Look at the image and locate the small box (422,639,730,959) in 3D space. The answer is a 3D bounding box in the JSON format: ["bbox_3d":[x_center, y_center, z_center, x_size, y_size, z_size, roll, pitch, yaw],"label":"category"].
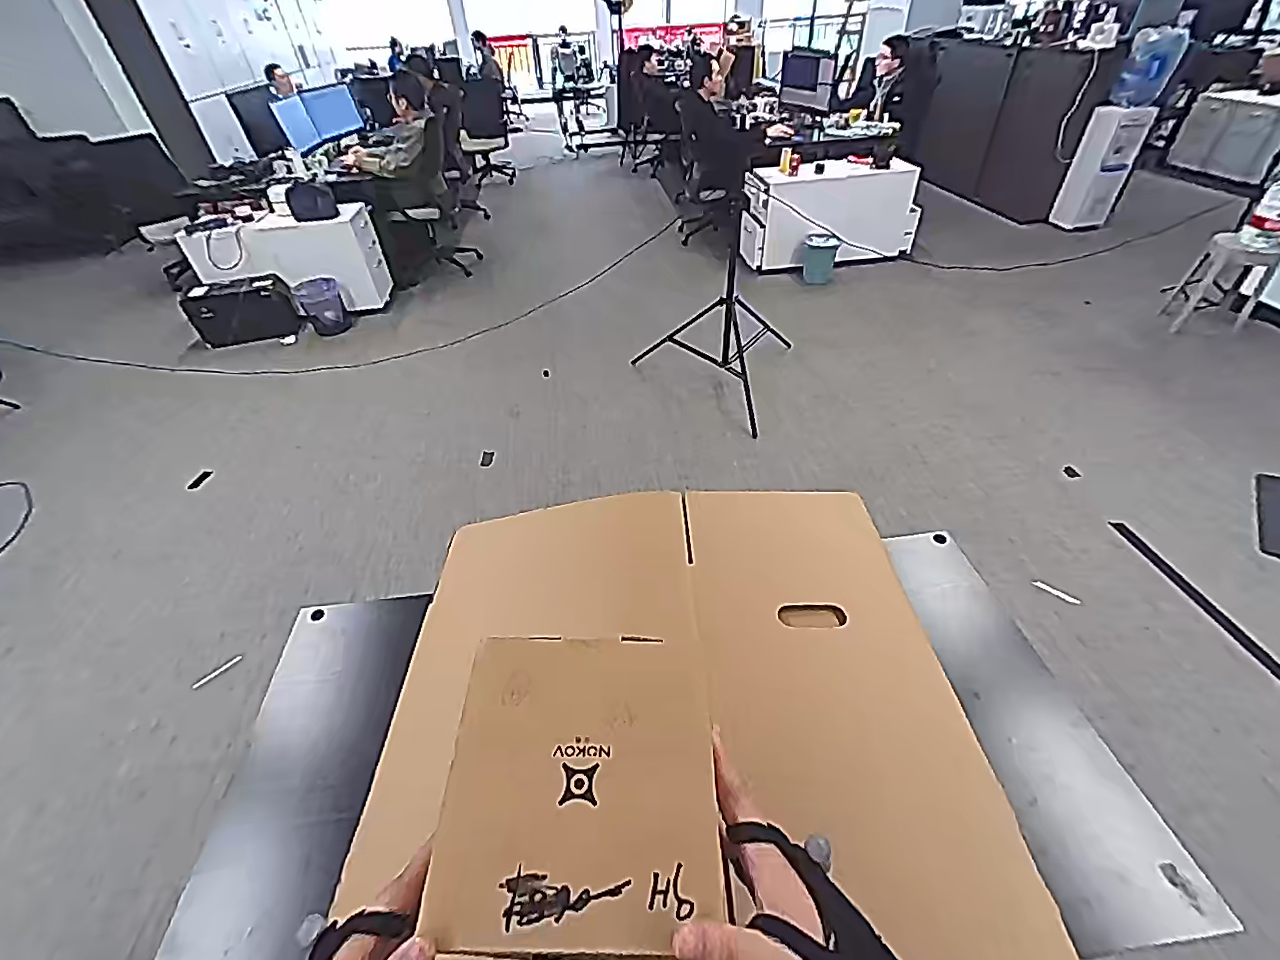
[{"bbox_3d":[-0.032,0.235,0.396,0.168,0.176,0.179,0,48,1],"label":"small box"}]
